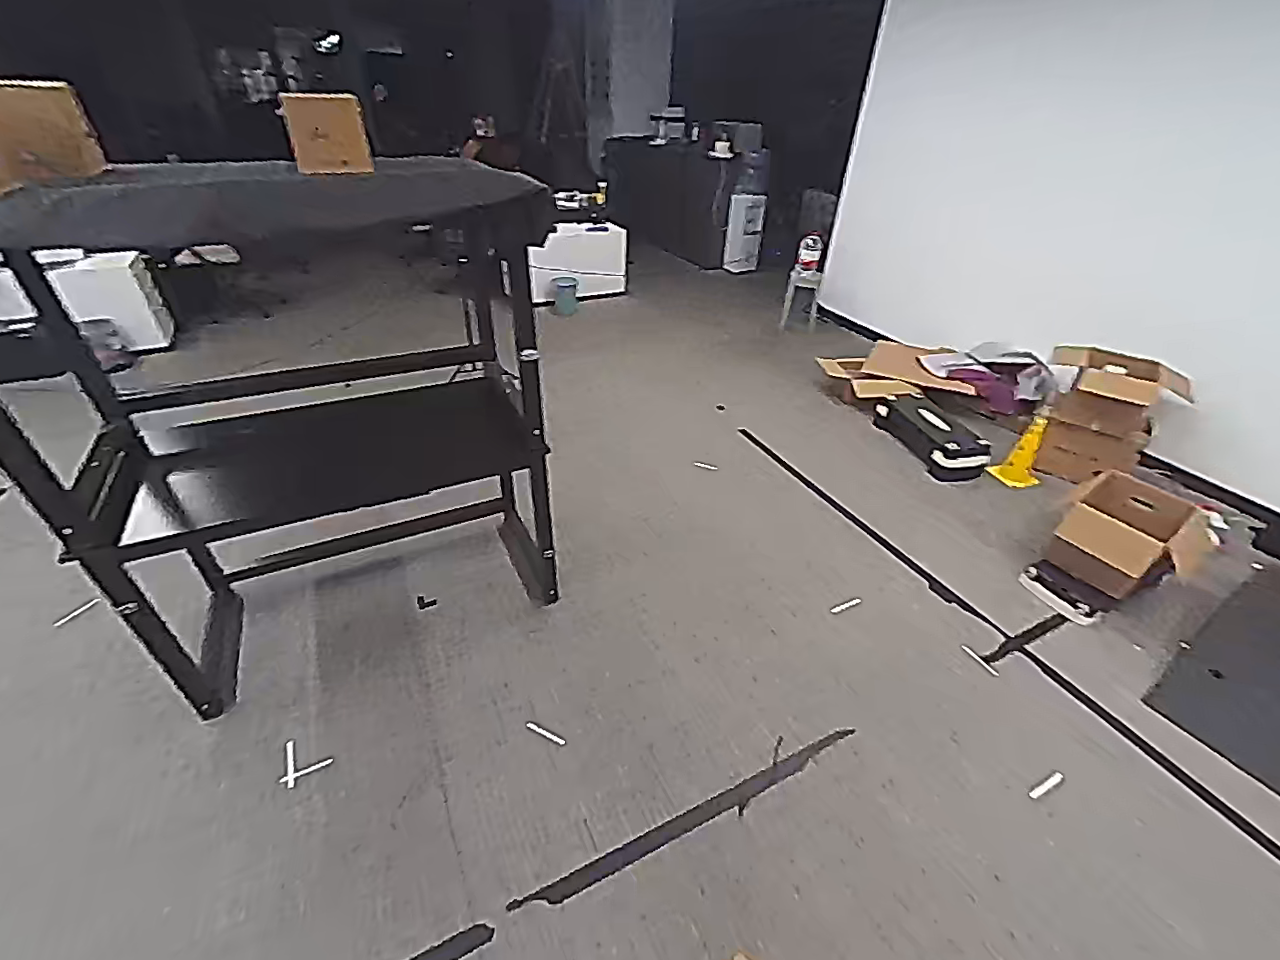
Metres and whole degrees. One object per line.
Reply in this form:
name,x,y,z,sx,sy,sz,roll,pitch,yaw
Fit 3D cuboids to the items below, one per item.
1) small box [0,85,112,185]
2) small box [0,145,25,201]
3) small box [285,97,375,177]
small box,-1.317,-0.754,1.185,0.179,0.176,0.168,-16,40,-25
small box,-1.263,-0.581,0.945,0.179,0.176,0.168,-17,39,-26
small box,-0.809,-0.898,1.417,0.168,0.176,0.179,-16,40,-23
